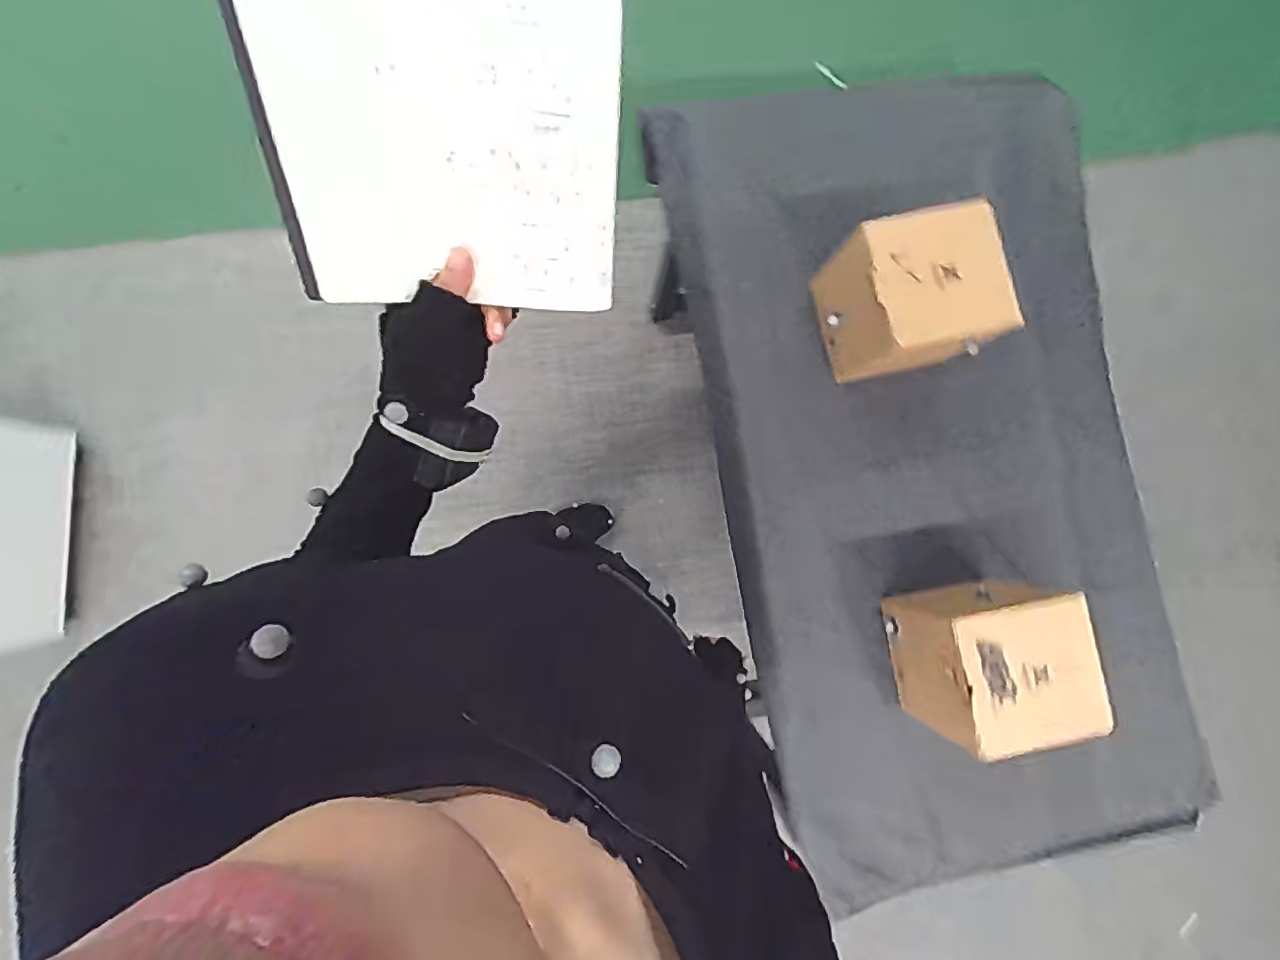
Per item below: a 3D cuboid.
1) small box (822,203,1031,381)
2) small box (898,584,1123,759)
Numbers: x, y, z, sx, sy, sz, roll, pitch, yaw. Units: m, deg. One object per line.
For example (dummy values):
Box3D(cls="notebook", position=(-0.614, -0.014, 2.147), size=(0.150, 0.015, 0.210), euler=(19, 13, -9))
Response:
Box3D(cls="small box", position=(0.383, -0.249, 0.751), size=(0.179, 0.176, 0.168), euler=(-13, 86, -6))
Box3D(cls="small box", position=(0.470, 0.239, 0.718), size=(0.179, 0.176, 0.168), euler=(-9, 86, -6))
